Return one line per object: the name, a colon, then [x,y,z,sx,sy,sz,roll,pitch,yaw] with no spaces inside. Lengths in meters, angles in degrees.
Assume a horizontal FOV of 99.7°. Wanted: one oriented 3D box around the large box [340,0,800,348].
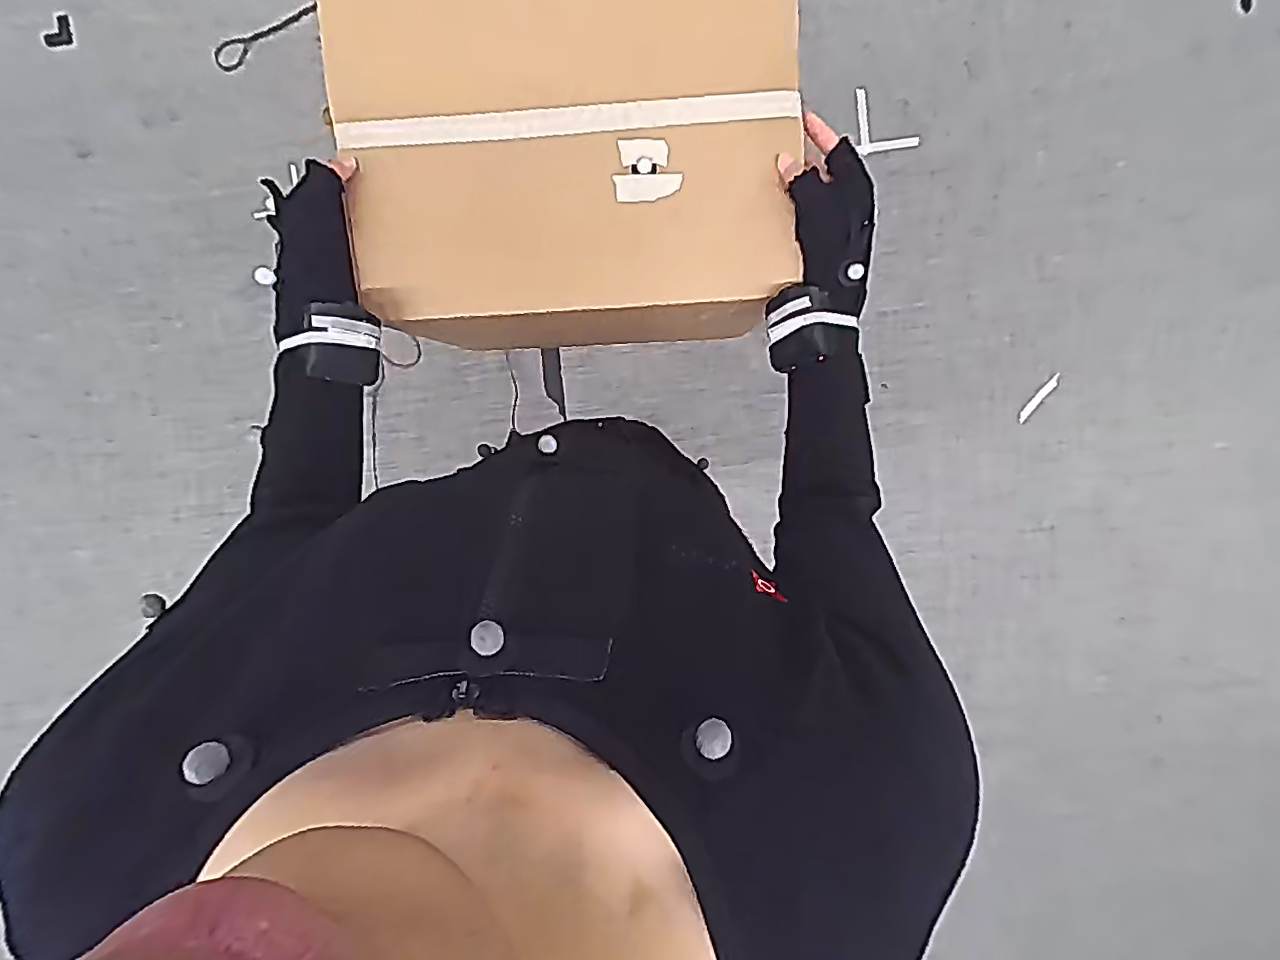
large box: [-0.059,-0.338,0.634,0.408,0.320,0.320,-3,99,1]
